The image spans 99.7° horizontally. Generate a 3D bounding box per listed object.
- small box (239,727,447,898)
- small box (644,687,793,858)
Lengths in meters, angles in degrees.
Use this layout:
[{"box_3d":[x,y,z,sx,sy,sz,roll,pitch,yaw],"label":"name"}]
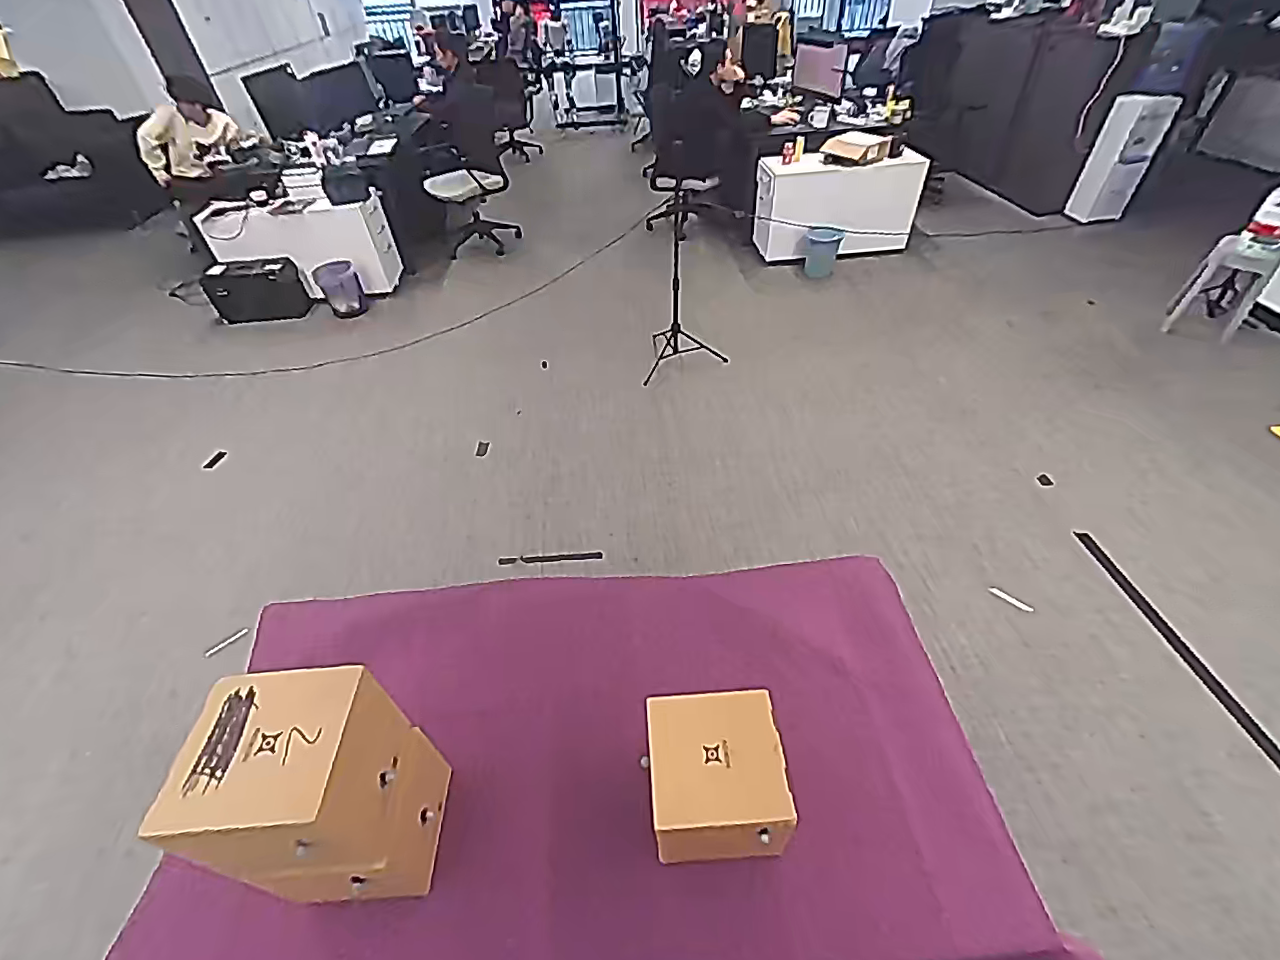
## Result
[{"box_3d":[-0.385,0.459,0.746,0.179,0.176,0.168,-4,44,0],"label":"small box"},{"box_3d":[0.101,0.414,0.762,0.179,0.176,0.168,-4,44,-1],"label":"small box"}]
